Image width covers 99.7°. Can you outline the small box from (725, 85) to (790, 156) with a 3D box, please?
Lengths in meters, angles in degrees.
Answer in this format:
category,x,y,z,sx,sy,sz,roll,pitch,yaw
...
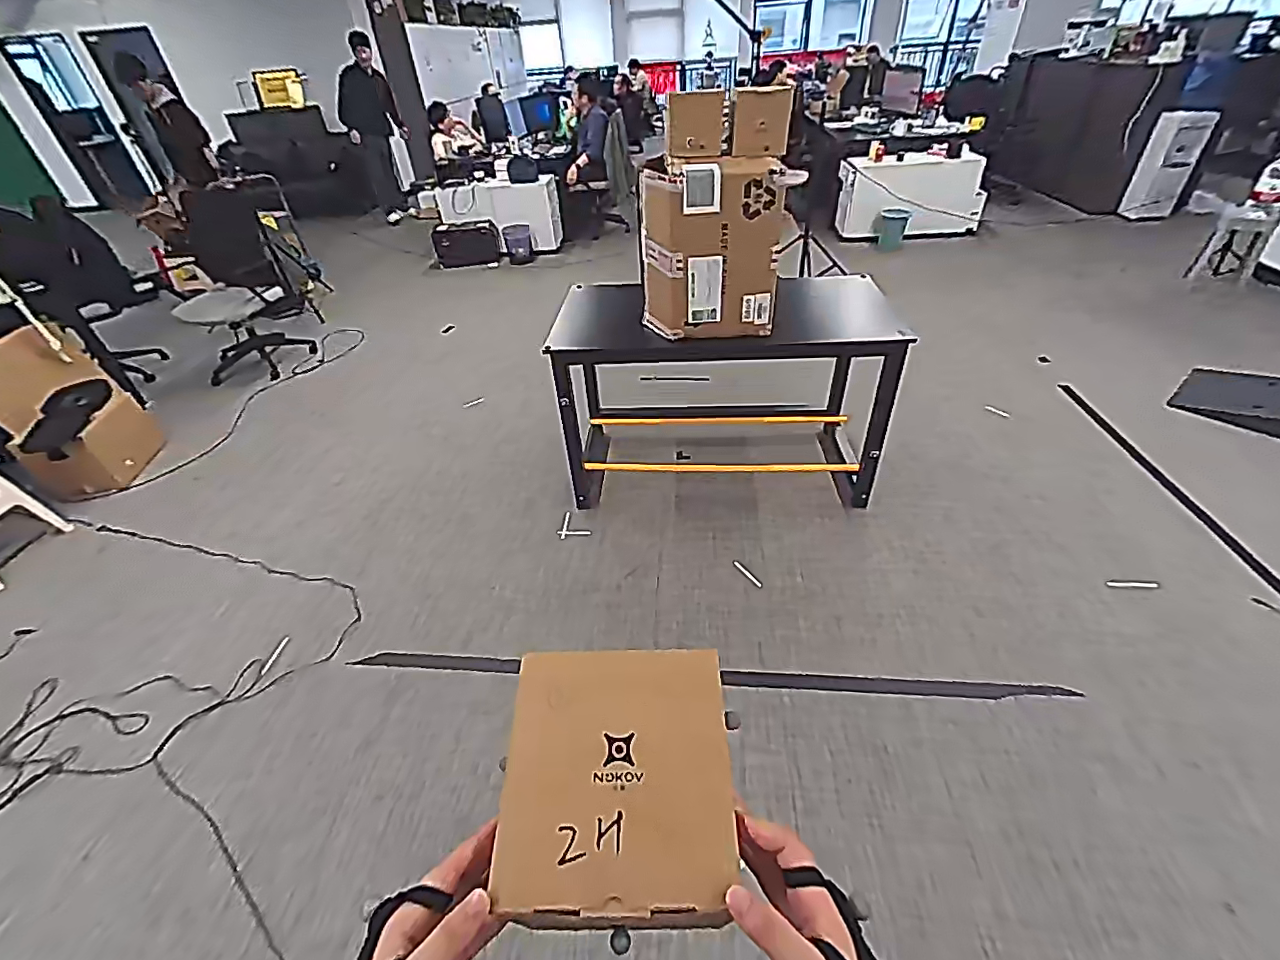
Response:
category,x,y,z,sx,sy,sz,roll,pitch,yaw
small box,0.358,-1.111,1.675,0.168,0.176,0.179,0,39,1

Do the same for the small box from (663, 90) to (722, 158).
category,x,y,z,sx,sy,sz,roll,pitch,yaw
small box,0.160,-1.115,1.695,0.168,0.176,0.179,-4,37,-1

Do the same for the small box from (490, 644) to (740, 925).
category,x,y,z,sx,sy,sz,roll,pitch,yaw
small box,-0.014,0.259,0.462,0.168,0.176,0.179,-2,47,1
